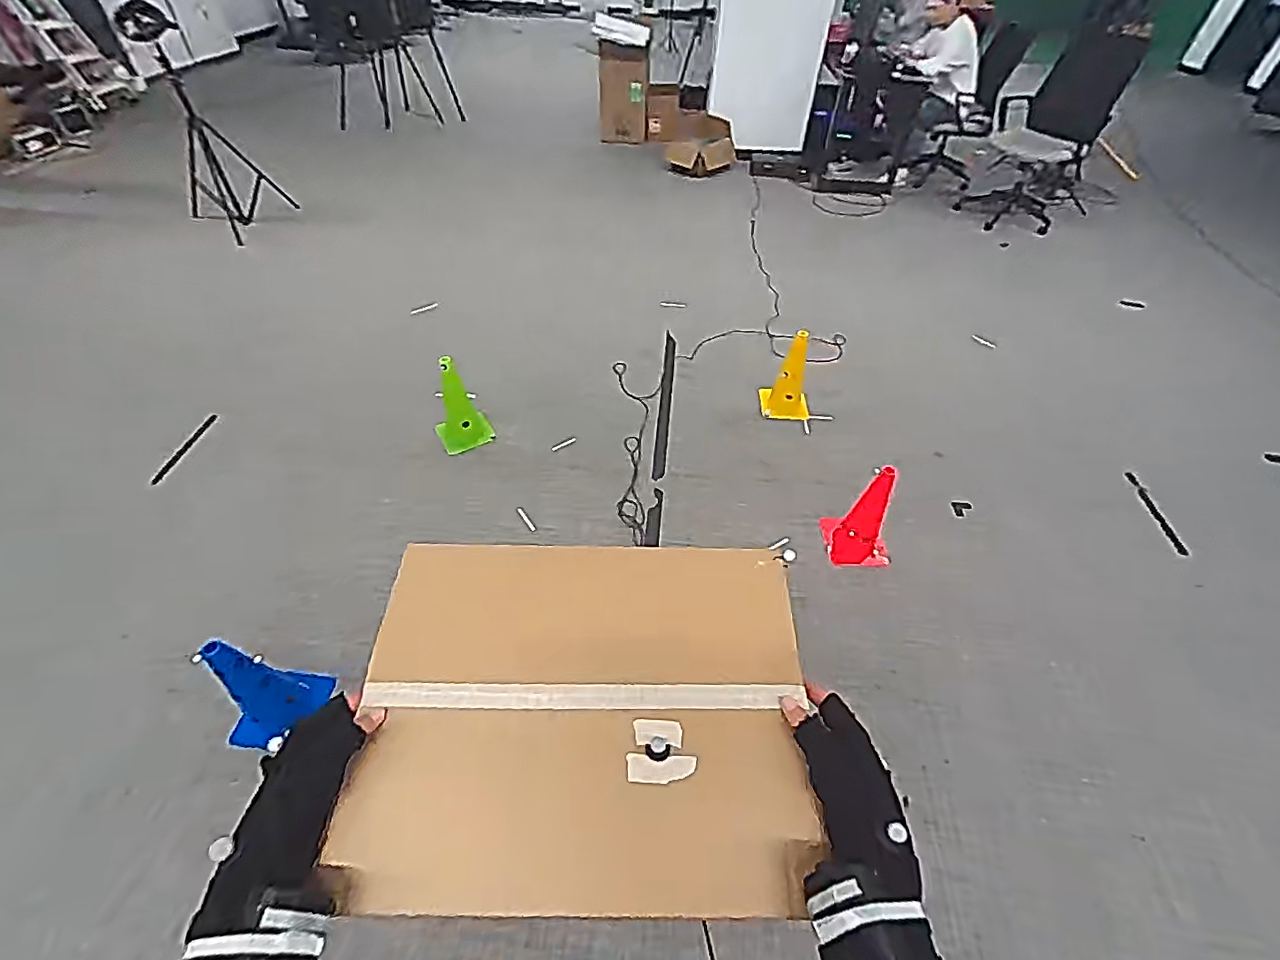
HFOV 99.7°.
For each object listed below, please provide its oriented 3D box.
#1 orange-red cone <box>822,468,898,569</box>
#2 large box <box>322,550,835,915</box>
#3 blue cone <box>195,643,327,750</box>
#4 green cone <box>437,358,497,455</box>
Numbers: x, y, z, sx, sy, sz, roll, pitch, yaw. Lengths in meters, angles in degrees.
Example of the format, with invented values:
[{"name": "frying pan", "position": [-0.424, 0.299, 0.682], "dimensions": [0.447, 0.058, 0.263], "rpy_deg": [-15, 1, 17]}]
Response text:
[{"name": "orange-red cone", "position": [0.742, 0.098, 1.739], "dimensions": [0.198, 0.360, 0.199], "rpy_deg": [3, 45, 0]}, {"name": "large box", "position": [-0.050, 0.293, 0.620], "dimensions": [0.408, 0.320, 0.320], "rpy_deg": [2, 54, -1]}, {"name": "blue cone", "position": [-0.950, 0.502, 1.321], "dimensions": [0.192, 0.380, 0.193], "rpy_deg": [6, 47, 5]}, {"name": "green cone", "position": [-0.703, -0.309, 2.070], "dimensions": [0.202, 0.368, 0.200], "rpy_deg": [-25, 52, -22]}]
